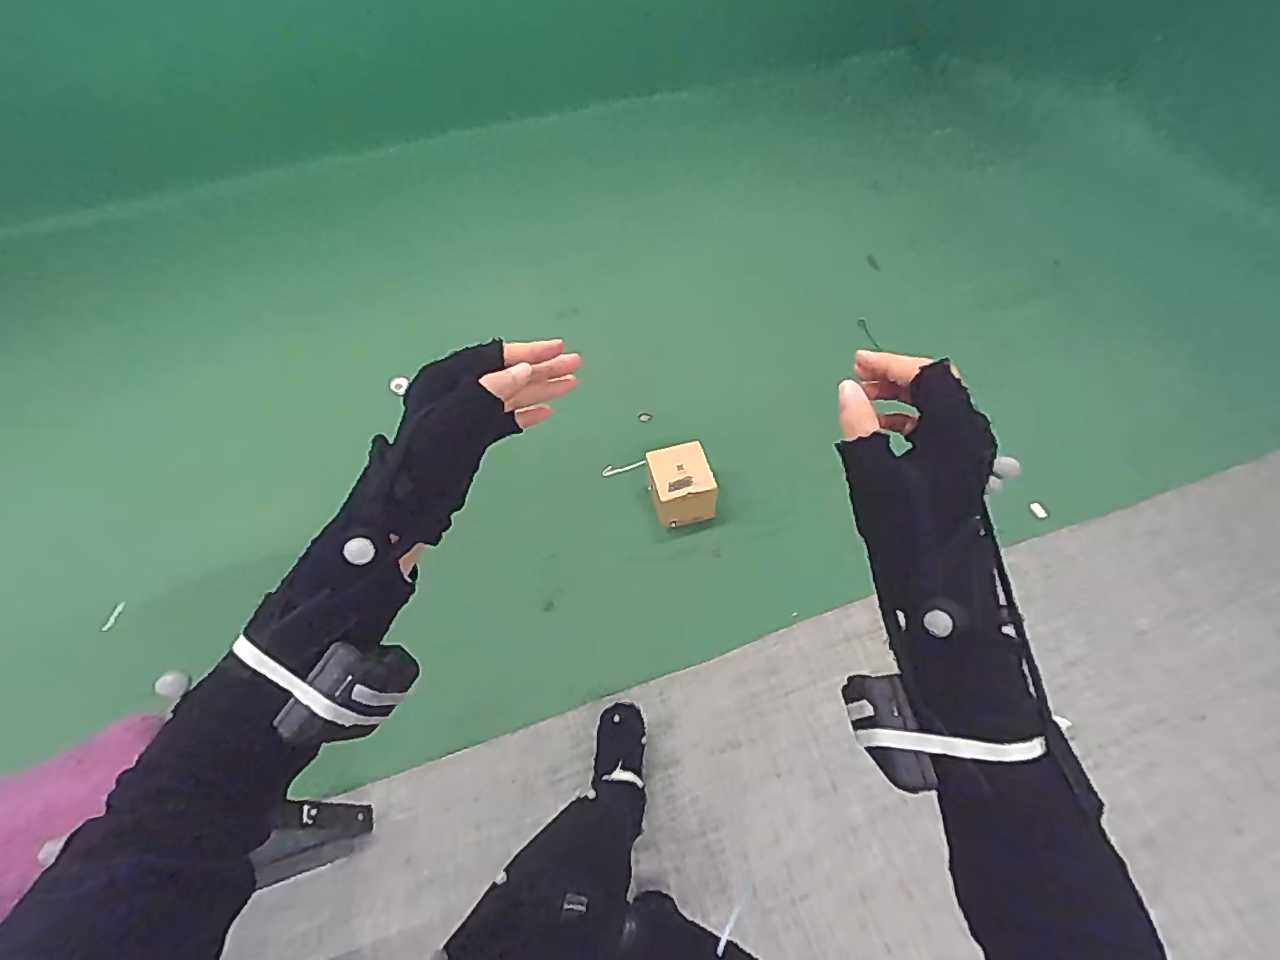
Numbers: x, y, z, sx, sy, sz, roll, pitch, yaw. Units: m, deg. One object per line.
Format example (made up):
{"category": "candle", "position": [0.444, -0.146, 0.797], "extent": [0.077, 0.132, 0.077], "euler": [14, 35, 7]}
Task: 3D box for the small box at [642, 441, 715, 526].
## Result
{"category": "small box", "position": [0.112, 0.018, 1.601], "extent": [0.168, 0.176, 0.179], "euler": [-16, 59, -8]}
